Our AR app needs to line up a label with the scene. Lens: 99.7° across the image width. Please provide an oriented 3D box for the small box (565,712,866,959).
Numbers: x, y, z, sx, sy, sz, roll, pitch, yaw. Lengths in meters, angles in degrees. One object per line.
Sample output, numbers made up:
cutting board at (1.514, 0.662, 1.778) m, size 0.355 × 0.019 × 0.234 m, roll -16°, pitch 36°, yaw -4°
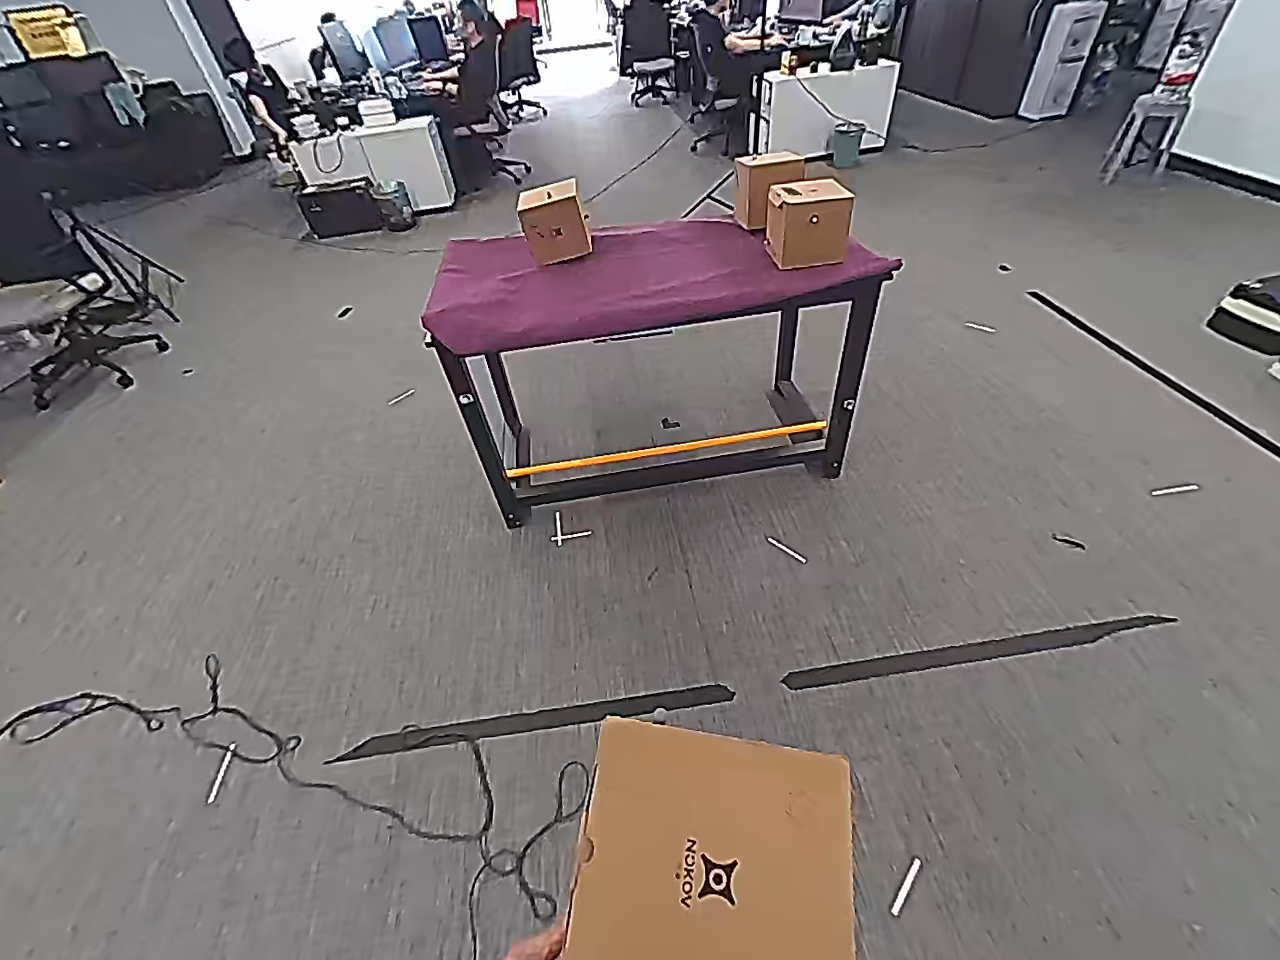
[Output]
small box at (0.056, 0.285, 0.408) m, size 0.179 × 0.176 × 0.168 m, roll 4°, pitch 60°, yaw 10°

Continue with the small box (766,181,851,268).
small box at (0.446, -0.687, 1.463) m, size 0.179 × 0.176 × 0.168 m, roll -7°, pitch 43°, yaw -1°

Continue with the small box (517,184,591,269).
small box at (-0.253, -0.759, 1.614) m, size 0.179 × 0.168 × 0.176 m, roll -12°, pitch 43°, yaw 5°
